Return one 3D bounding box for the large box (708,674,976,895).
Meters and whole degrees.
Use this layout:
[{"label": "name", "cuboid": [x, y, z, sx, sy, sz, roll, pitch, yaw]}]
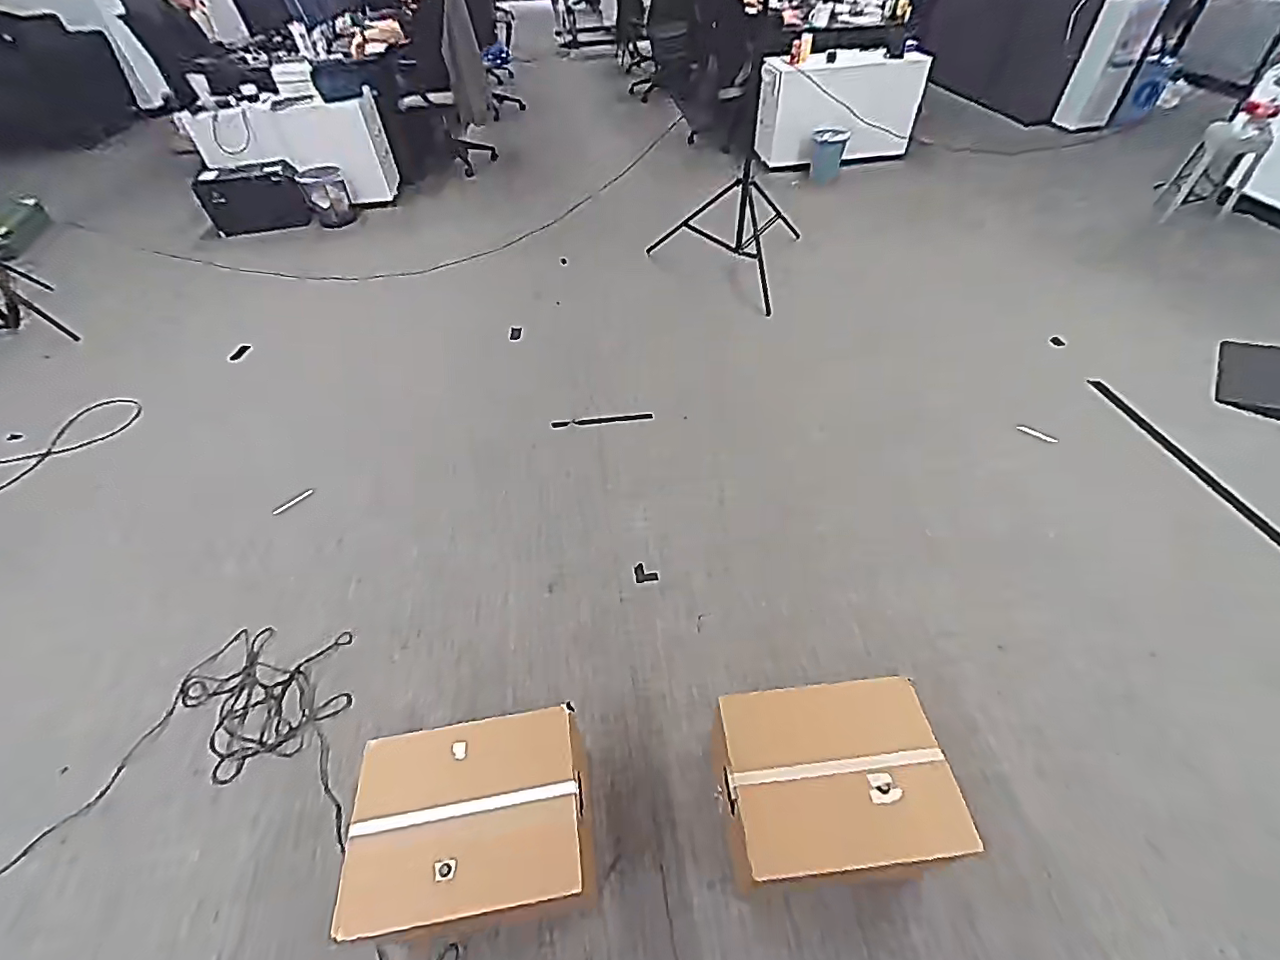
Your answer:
[{"label": "large box", "cuboid": [0.377, 0.639, 1.136, 0.408, 0.320, 0.320, -5, 48, -3]}]
